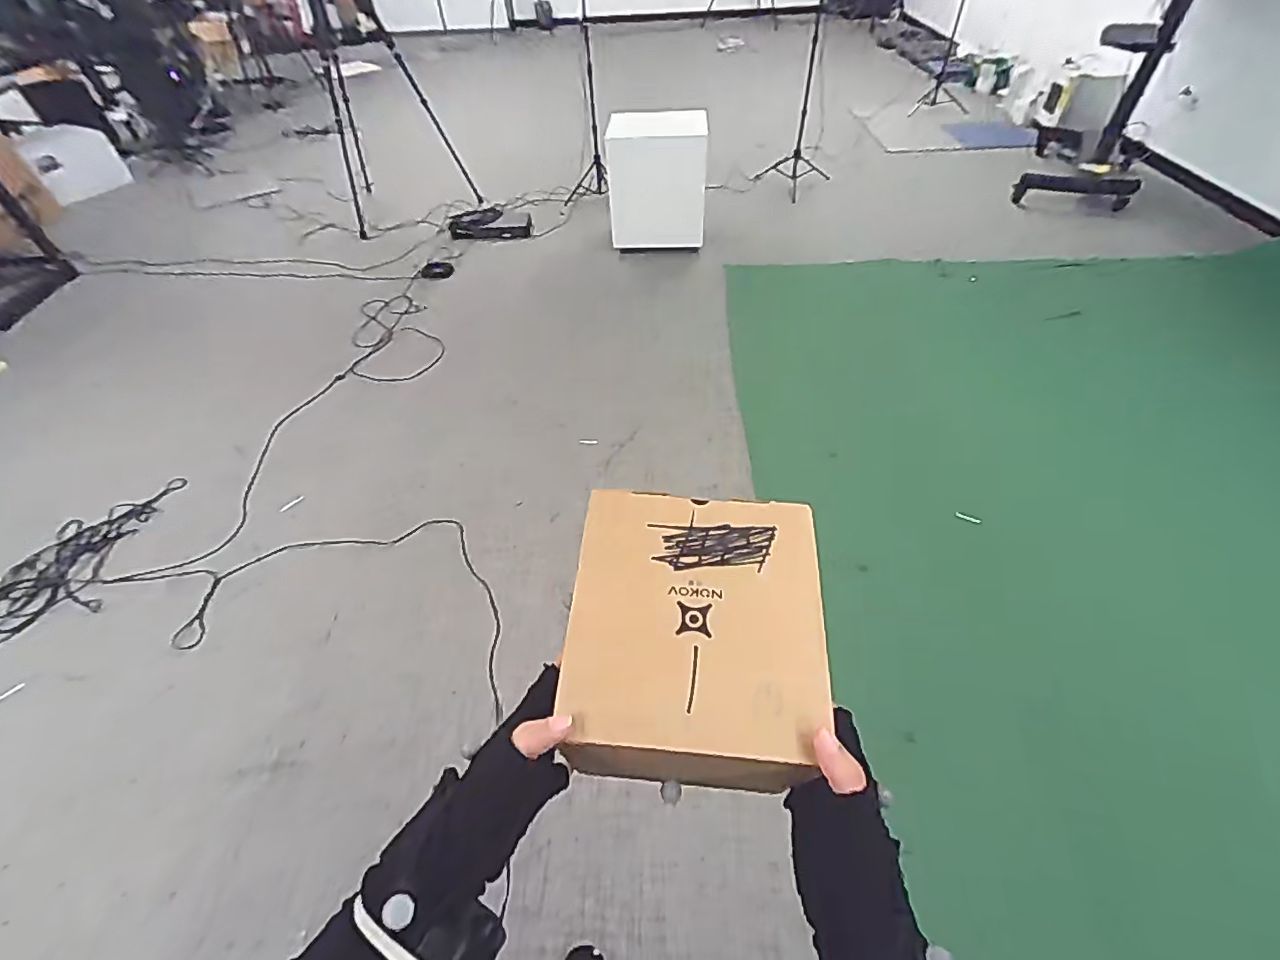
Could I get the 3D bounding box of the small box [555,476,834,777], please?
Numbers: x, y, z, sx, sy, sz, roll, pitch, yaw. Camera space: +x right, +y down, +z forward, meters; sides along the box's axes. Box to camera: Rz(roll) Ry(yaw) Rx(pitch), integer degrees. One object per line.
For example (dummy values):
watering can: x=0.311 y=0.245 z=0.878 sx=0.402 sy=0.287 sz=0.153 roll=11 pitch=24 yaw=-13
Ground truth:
small box: x=0.038 y=0.119 z=0.425 sx=0.168 sy=0.176 sz=0.179 roll=4 pitch=56 yaw=3
